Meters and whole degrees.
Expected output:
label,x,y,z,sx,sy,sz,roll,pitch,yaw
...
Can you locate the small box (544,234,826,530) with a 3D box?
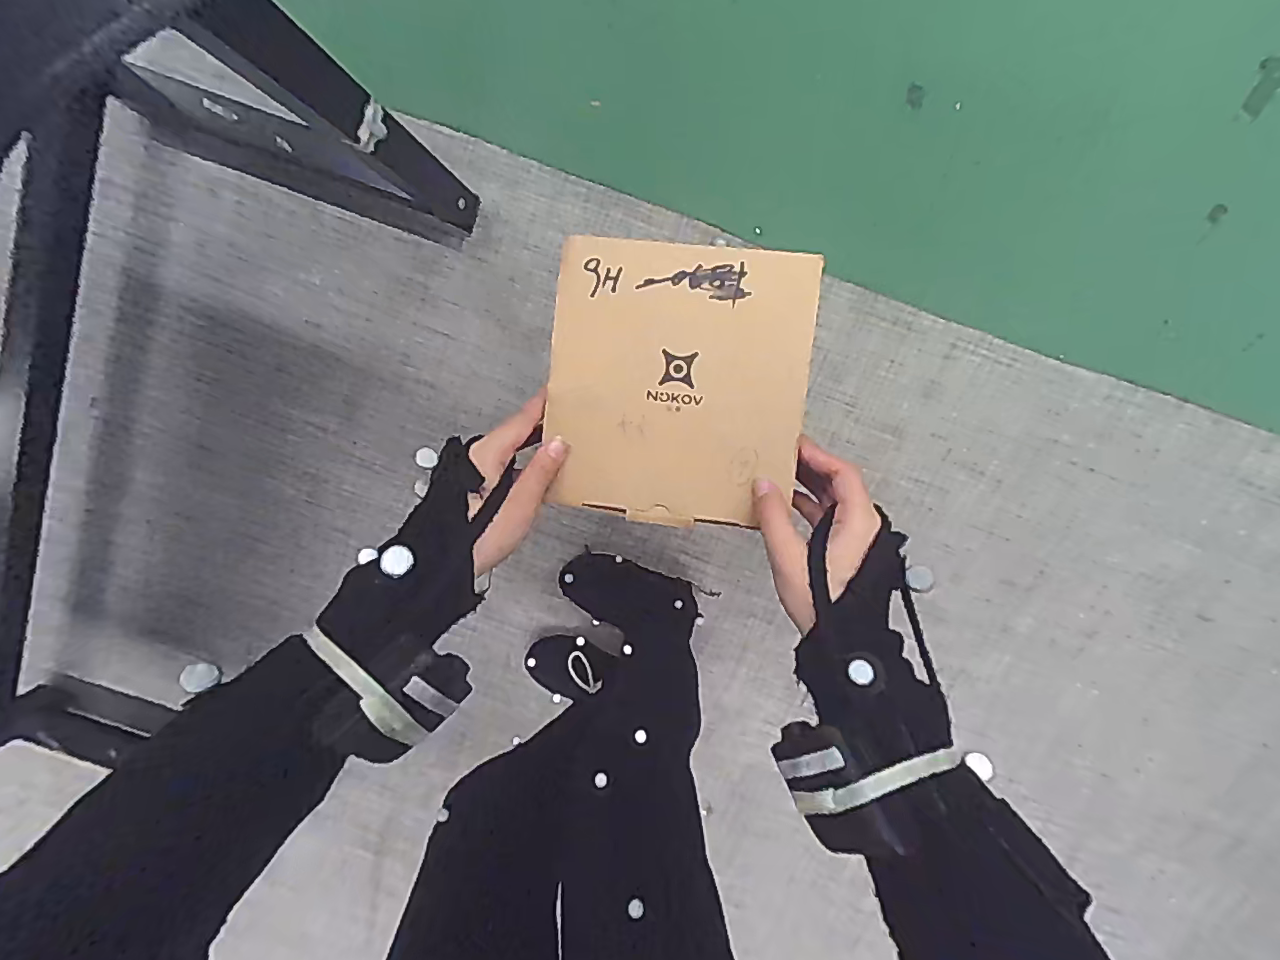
label,x,y,z,sx,sy,sz,roll,pitch,yaw
small box,0.032,-0.068,0.429,0.168,0.176,0.179,7,94,3
